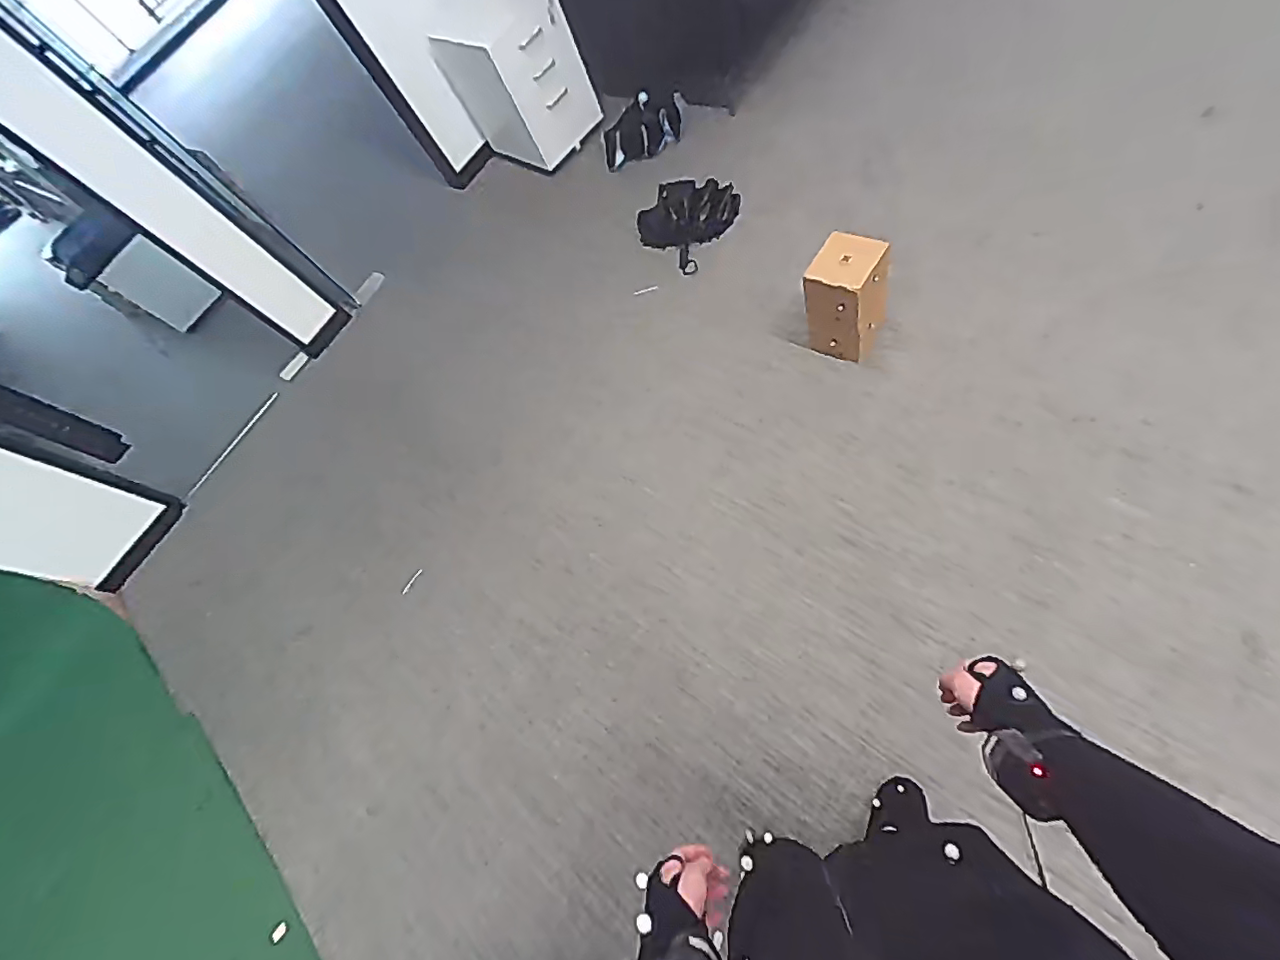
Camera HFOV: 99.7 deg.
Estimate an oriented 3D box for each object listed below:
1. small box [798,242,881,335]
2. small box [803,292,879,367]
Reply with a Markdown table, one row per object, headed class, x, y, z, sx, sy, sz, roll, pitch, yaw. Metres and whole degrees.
| class | x | y | z | sx | sy | sz | roll | pitch | yaw |
| --- | --- | --- | --- | --- | --- | --- | --- | --- | --- |
| small box | 0.580 | -0.550 | 1.567 | 0.168 | 0.176 | 0.179 | 28 | 76 | 29 |
| small box | 0.637 | -0.484 | 1.704 | 0.168 | 0.176 | 0.179 | 25 | 77 | 30 |
